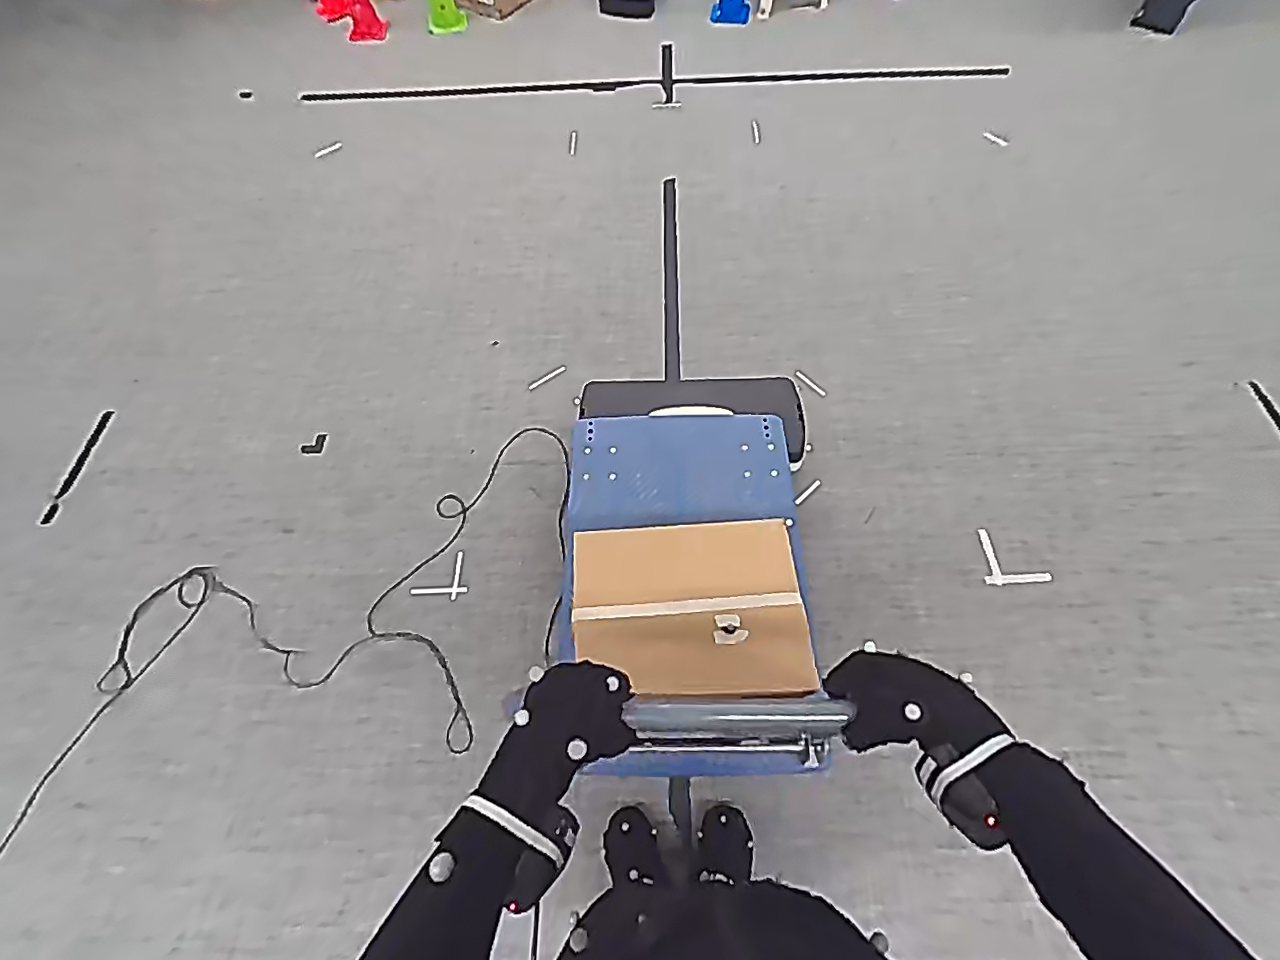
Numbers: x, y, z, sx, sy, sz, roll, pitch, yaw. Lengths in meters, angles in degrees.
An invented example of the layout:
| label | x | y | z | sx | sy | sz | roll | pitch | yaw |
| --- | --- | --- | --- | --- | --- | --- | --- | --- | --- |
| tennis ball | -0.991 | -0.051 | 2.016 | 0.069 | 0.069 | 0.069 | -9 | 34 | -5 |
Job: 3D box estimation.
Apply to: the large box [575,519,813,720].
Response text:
| label | x | y | z | sx | sy | sz | roll | pitch | yaw |
| --- | --- | --- | --- | --- | --- | --- | --- | --- | --- |
| large box | 0.085 | 0.296 | 1.107 | 0.408 | 0.320 | 0.320 | -4 | 63 | -2 |
